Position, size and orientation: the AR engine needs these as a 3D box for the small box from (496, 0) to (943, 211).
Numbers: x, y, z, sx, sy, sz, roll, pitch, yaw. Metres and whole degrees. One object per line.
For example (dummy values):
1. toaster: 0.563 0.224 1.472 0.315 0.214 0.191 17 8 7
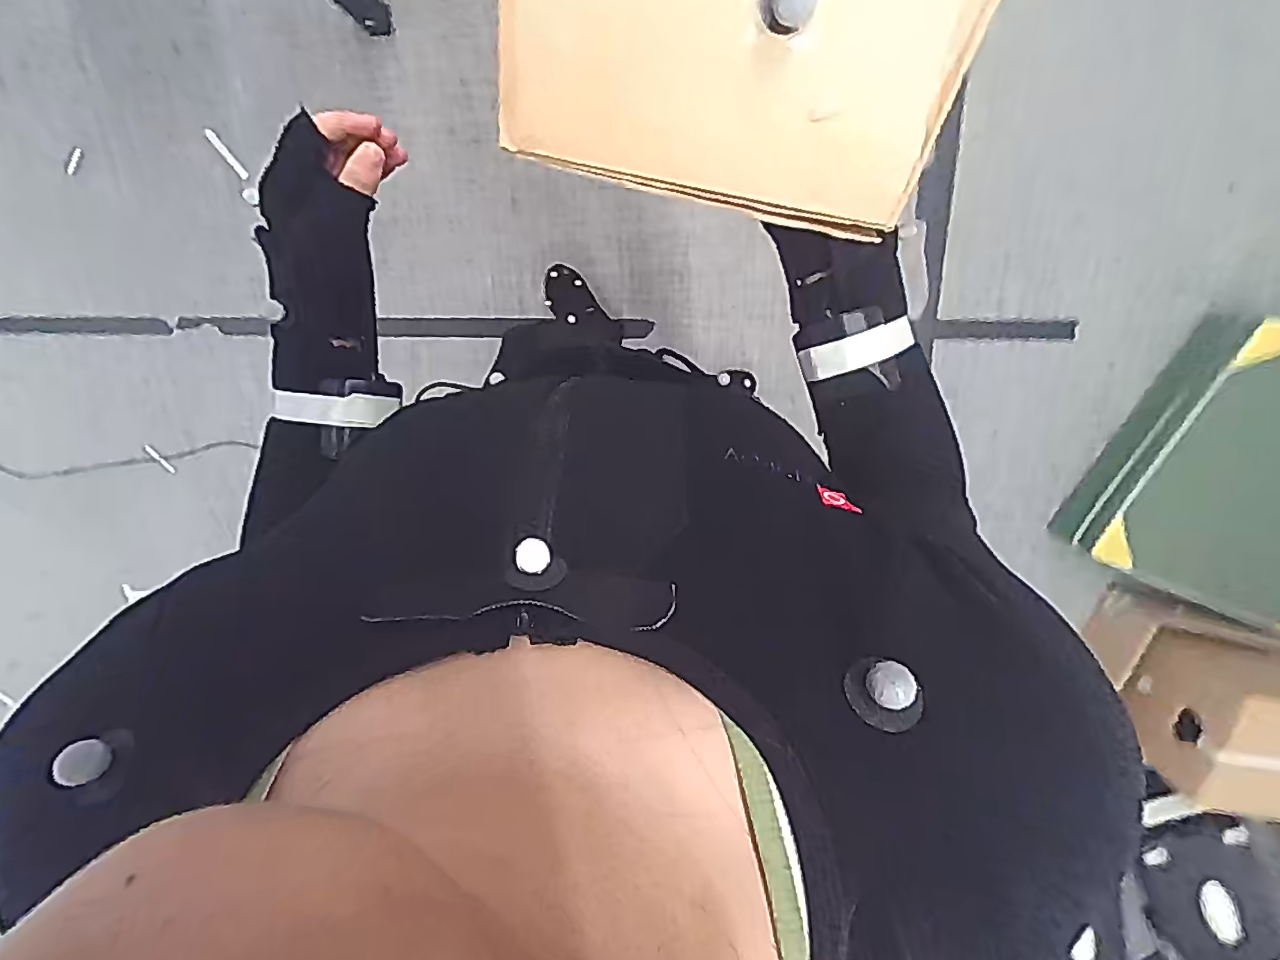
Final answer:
1. small box: 0.036 -0.245 0.239 0.179 0.168 0.176 8 132 -4
